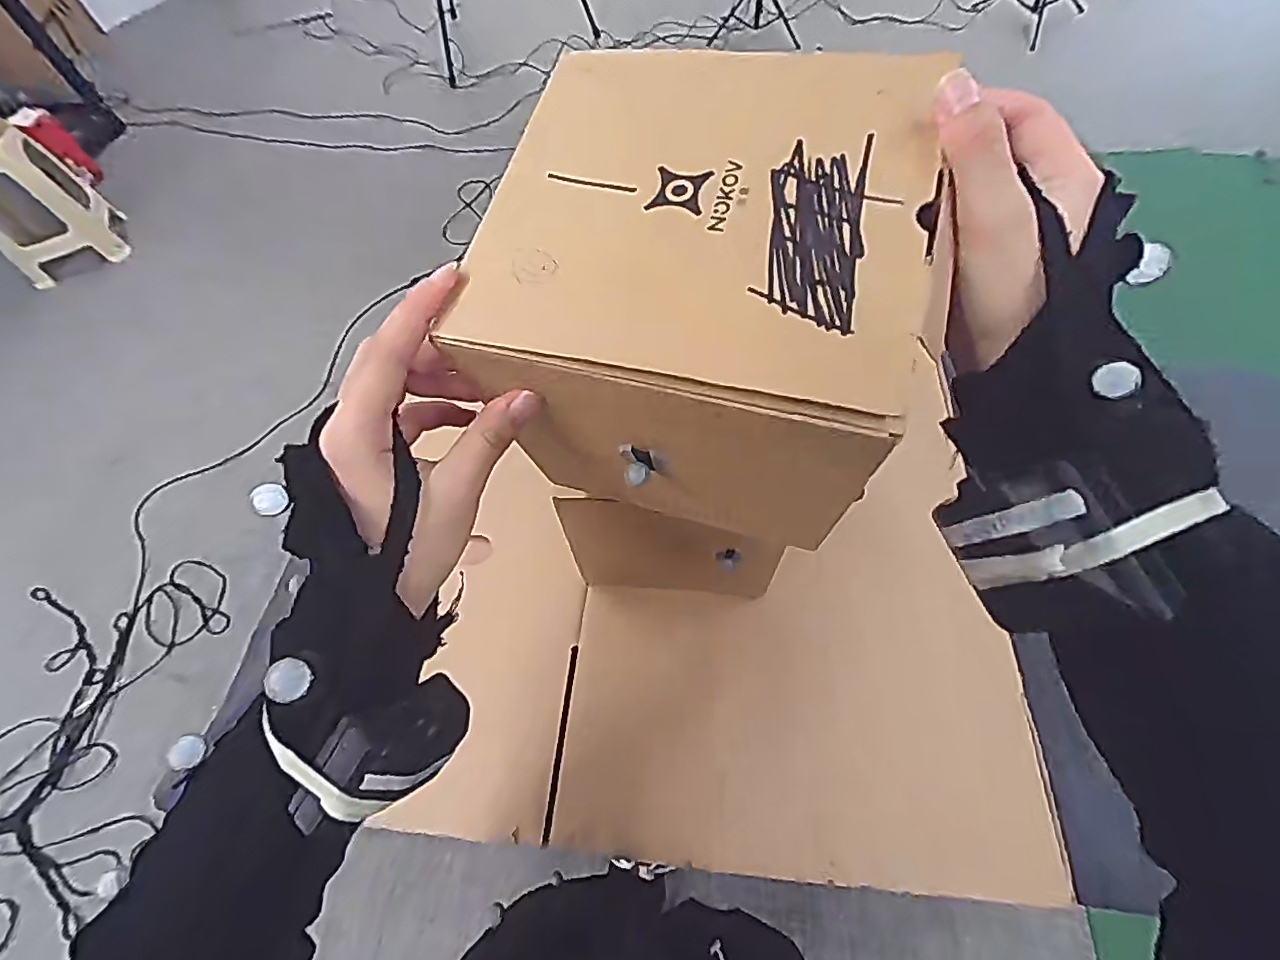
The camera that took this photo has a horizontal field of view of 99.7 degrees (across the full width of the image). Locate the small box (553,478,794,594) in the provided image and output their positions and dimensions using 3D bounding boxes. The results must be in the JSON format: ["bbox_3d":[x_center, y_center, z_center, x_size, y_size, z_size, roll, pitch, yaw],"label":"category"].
[{"bbox_3d":[0.034,-0.005,0.483,0.179,0.176,0.168,2,58,5],"label":"small box"}]

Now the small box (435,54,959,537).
[{"bbox_3d":[0.035,-0.079,0.289,0.179,0.176,0.168,13,72,14],"label":"small box"}]
